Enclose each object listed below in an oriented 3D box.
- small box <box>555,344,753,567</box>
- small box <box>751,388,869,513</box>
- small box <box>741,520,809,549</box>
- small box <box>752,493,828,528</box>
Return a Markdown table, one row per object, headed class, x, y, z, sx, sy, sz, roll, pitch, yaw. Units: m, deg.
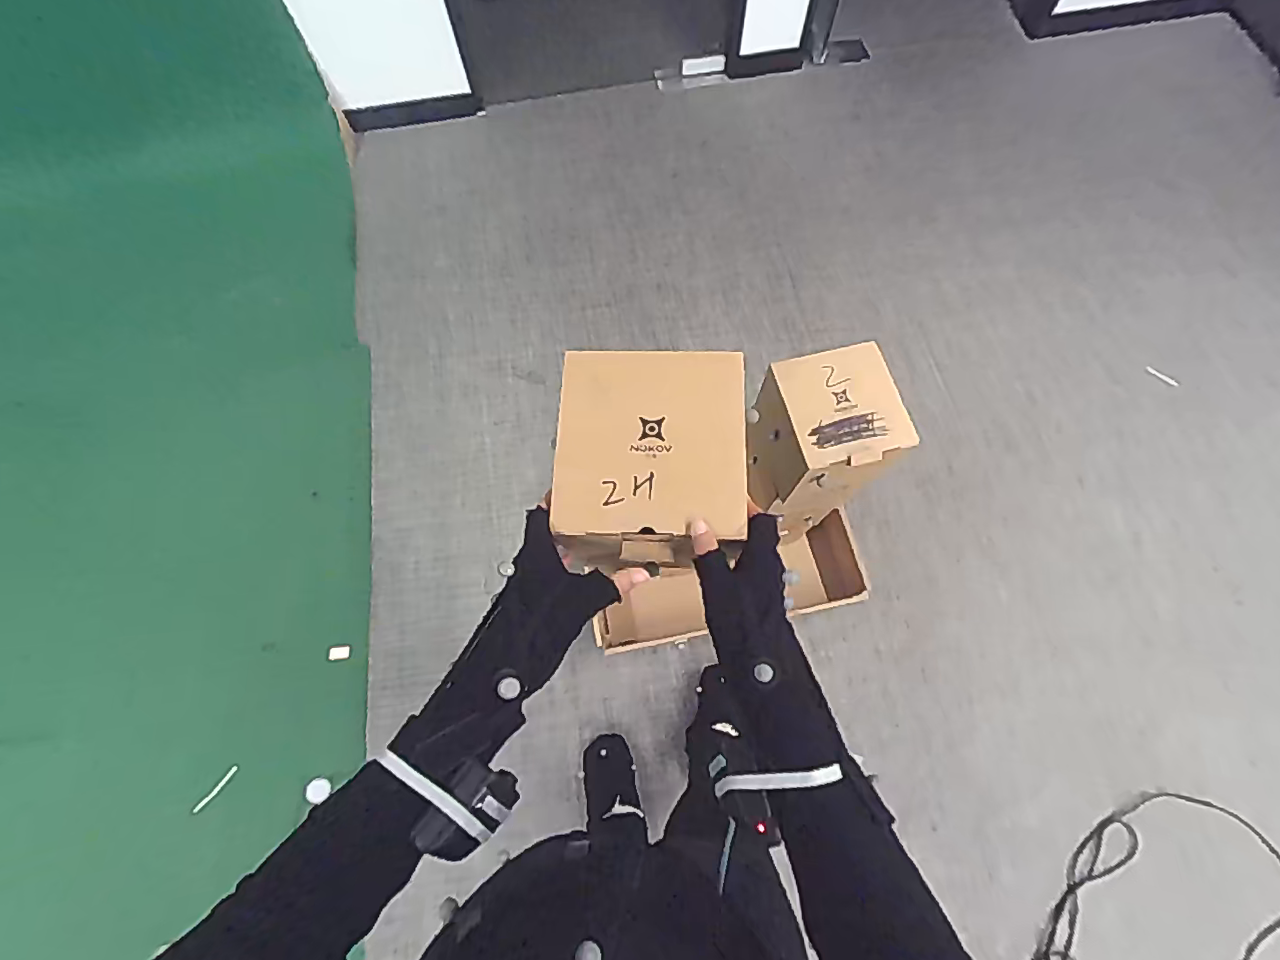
| class | x | y | z | sx | sy | sz | roll | pitch | yaw |
| --- | --- | --- | --- | --- | --- | --- | --- | --- | --- |
| small box | 0.018 | -0.016 | 0.544 | 0.168 | 0.176 | 0.179 | 1 | 72 | 4 |
| small box | 0.295 | -0.045 | 1.006 | 0.168 | 0.176 | 0.179 | -10 | 71 | -3 |
| small box | 0.290 | 0.060 | 1.317 | 0.168 | 0.176 | 0.179 | -15 | 71 | -2 |
| small box | 0.299 | -0.003 | 1.147 | 0.168 | 0.176 | 0.179 | -11 | 71 | -2 |
